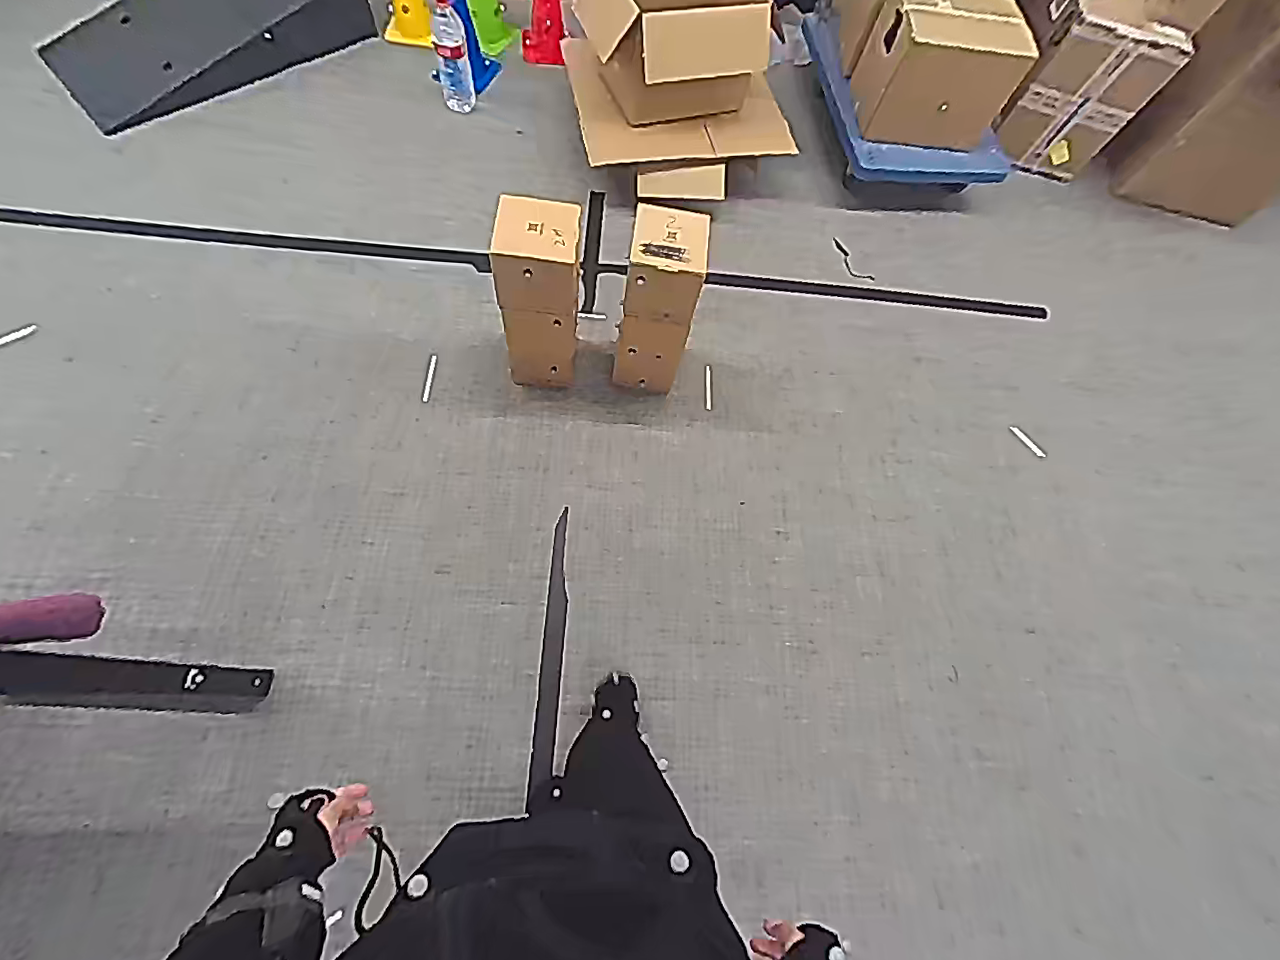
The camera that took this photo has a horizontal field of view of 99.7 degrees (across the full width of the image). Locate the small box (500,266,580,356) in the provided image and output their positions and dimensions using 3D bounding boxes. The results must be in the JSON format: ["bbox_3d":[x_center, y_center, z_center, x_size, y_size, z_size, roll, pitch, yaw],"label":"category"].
[{"bbox_3d":[-0.245,-0.428,1.354,0.179,0.176,0.168,5,68,-7],"label":"small box"}]

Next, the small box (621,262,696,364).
[{"bbox_3d":[0.044,-0.421,1.385,0.168,0.176,0.179,7,67,-5],"label":"small box"}]

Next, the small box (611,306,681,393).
[{"bbox_3d":[0.021,-0.366,1.539,0.179,0.176,0.168,9,68,-5],"label":"small box"}]

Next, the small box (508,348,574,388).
[{"bbox_3d":[-0.268,-0.375,1.506,0.168,0.176,0.179,3,67,-7],"label":"small box"}]

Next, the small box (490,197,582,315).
[{"bbox_3d":[-0.225,-0.490,1.202,0.179,0.176,0.168,5,68,-7],"label":"small box"}]
